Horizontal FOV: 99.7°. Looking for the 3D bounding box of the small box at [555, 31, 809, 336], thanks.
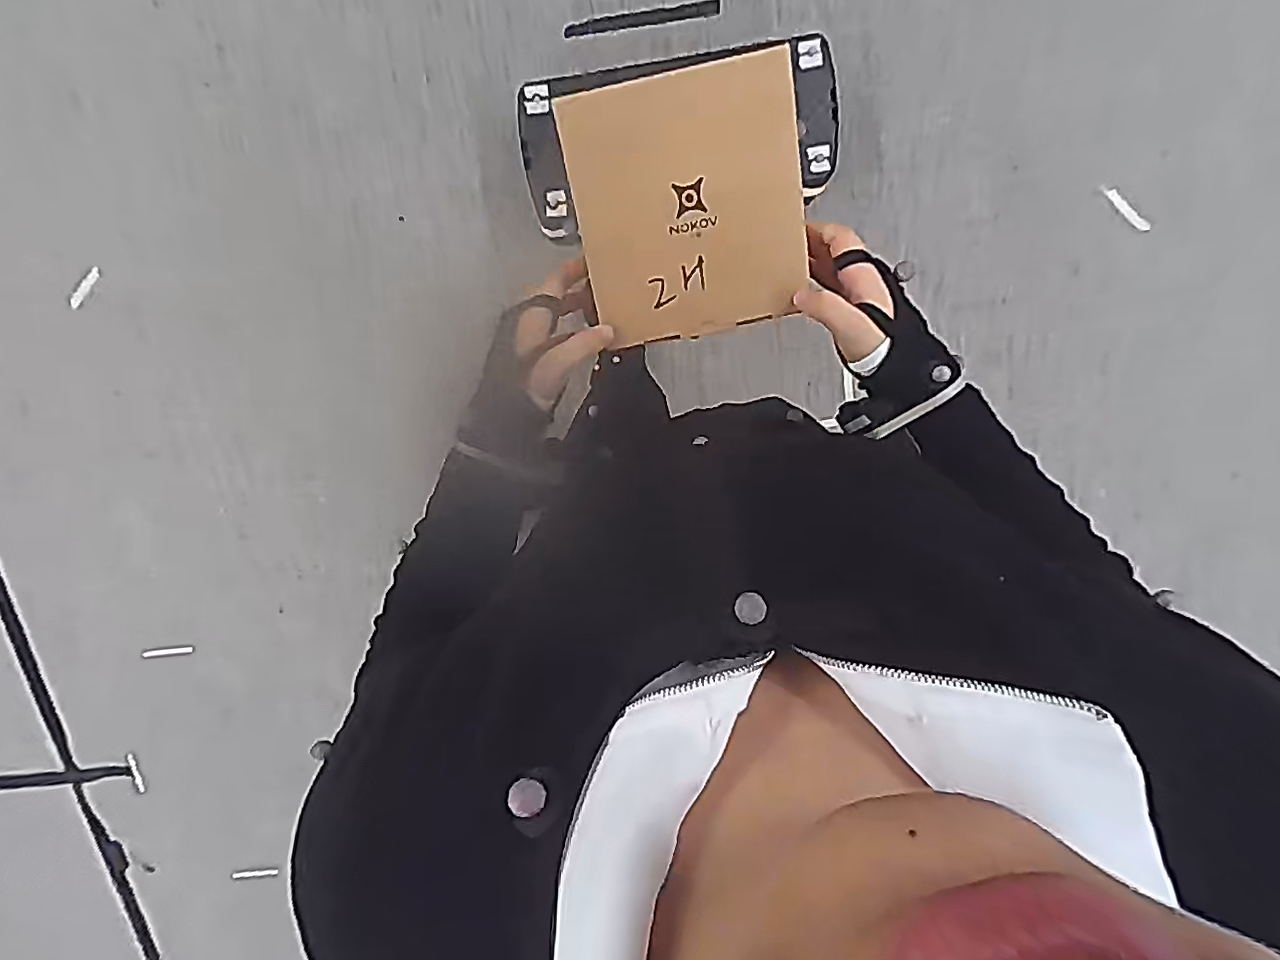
[{"bbox_3d":[0.034,-0.231,0.464,0.168,0.176,0.179,-10,110,3],"label":"small box"}]
